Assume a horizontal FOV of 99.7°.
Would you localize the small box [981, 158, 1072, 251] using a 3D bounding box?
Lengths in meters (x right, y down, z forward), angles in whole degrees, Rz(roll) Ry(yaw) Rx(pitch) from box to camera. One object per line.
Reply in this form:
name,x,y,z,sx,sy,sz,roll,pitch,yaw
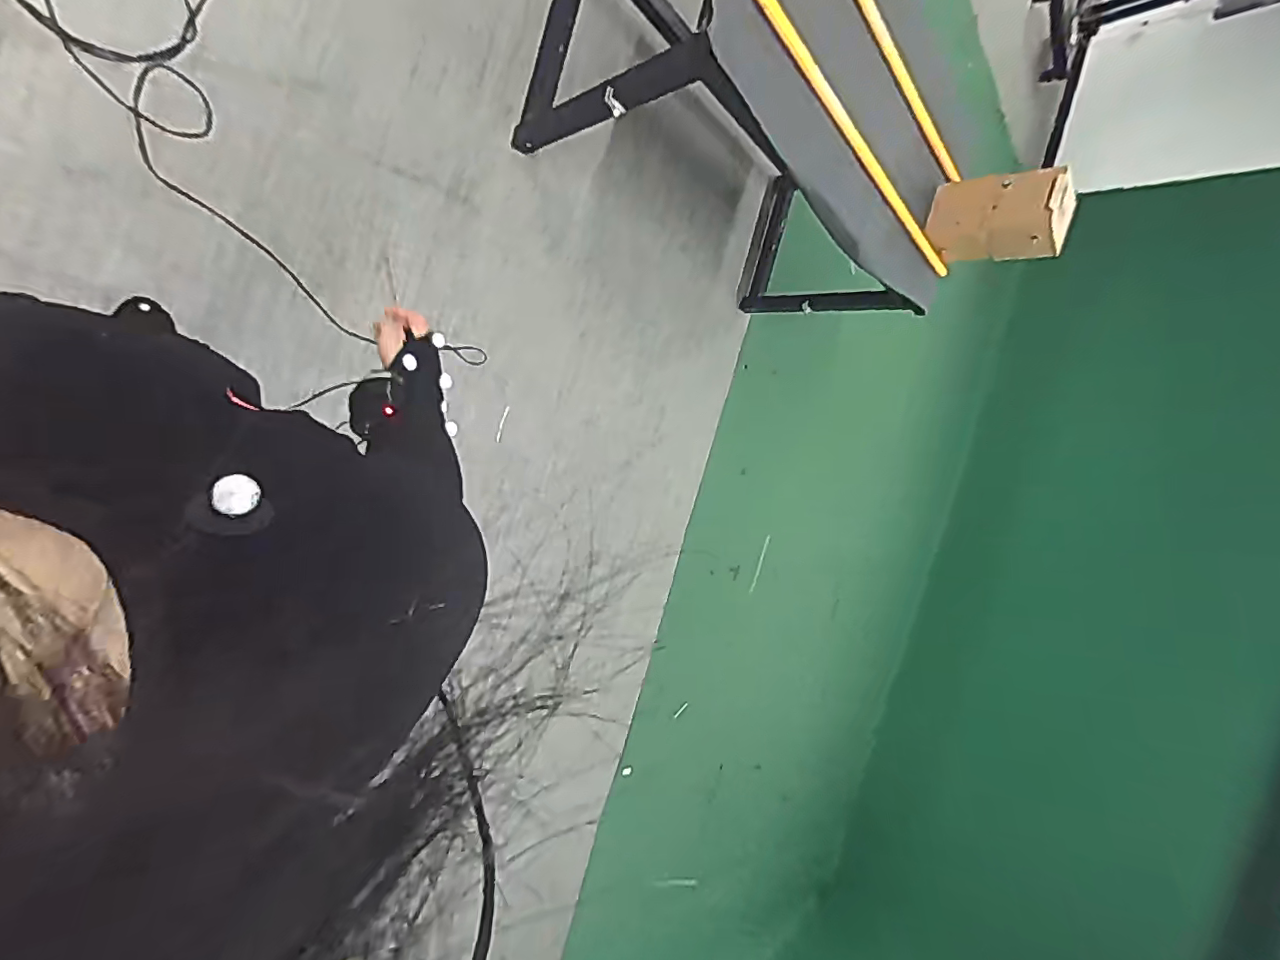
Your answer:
small box,1.110,-0.781,1.558,0.179,0.176,0.168,21,88,-45
